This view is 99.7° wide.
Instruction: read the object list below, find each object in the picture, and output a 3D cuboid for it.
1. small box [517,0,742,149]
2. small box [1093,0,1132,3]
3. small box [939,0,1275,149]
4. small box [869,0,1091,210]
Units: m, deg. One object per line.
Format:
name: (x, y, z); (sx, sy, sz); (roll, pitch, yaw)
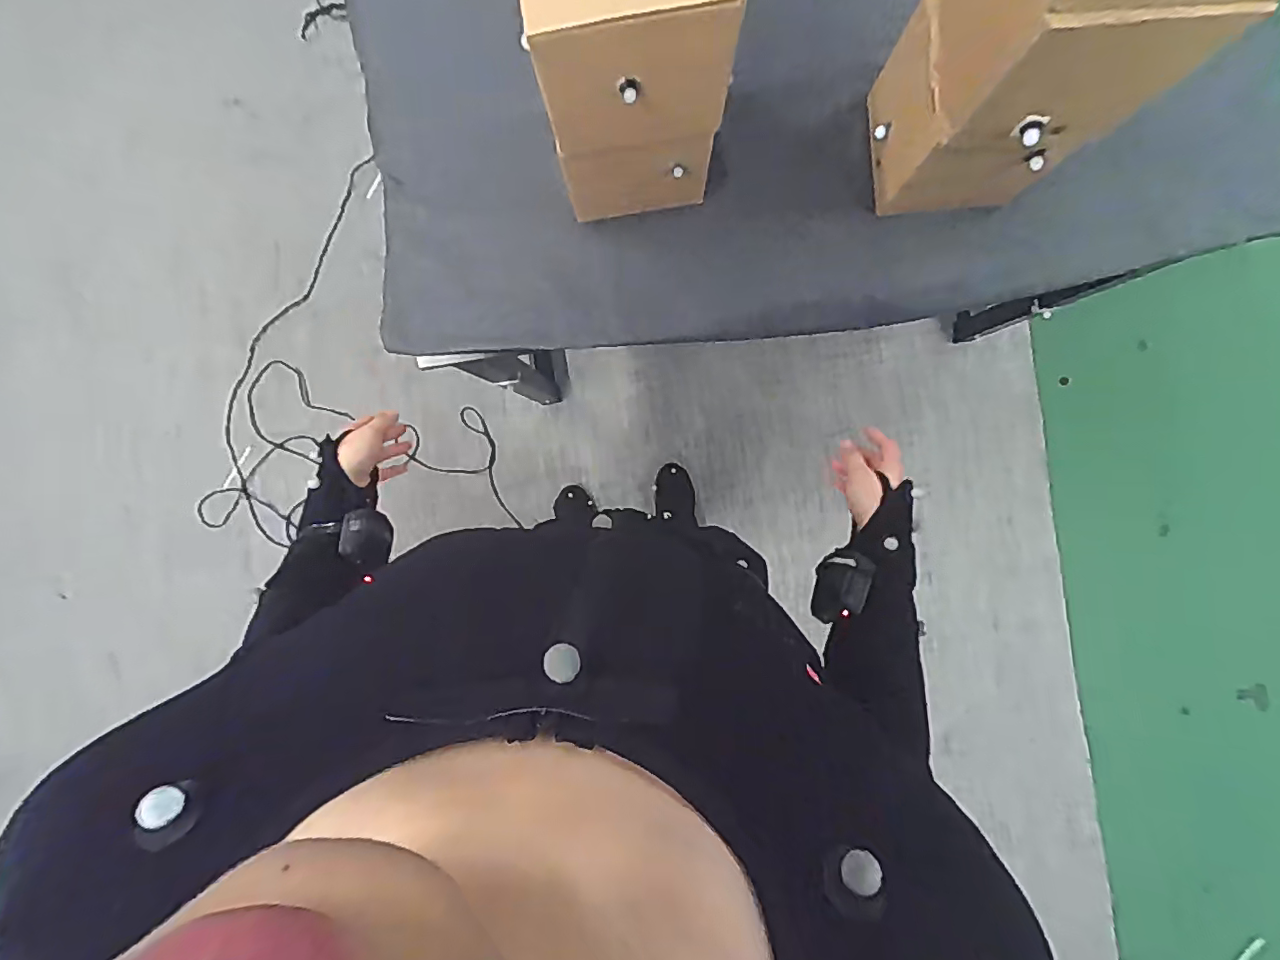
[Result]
small box: (-0.015, -0.439, 0.493); (0.179, 0.176, 0.168); (-8, 92, 3)
small box: (0.381, -0.429, 0.315); (0.179, 0.176, 0.168); (-1, 92, 4)
small box: (0.386, -0.432, 0.479); (0.168, 0.176, 0.179); (-2, 93, 4)
small box: (0.394, -0.444, 0.640); (0.179, 0.176, 0.168); (-4, 91, 3)
